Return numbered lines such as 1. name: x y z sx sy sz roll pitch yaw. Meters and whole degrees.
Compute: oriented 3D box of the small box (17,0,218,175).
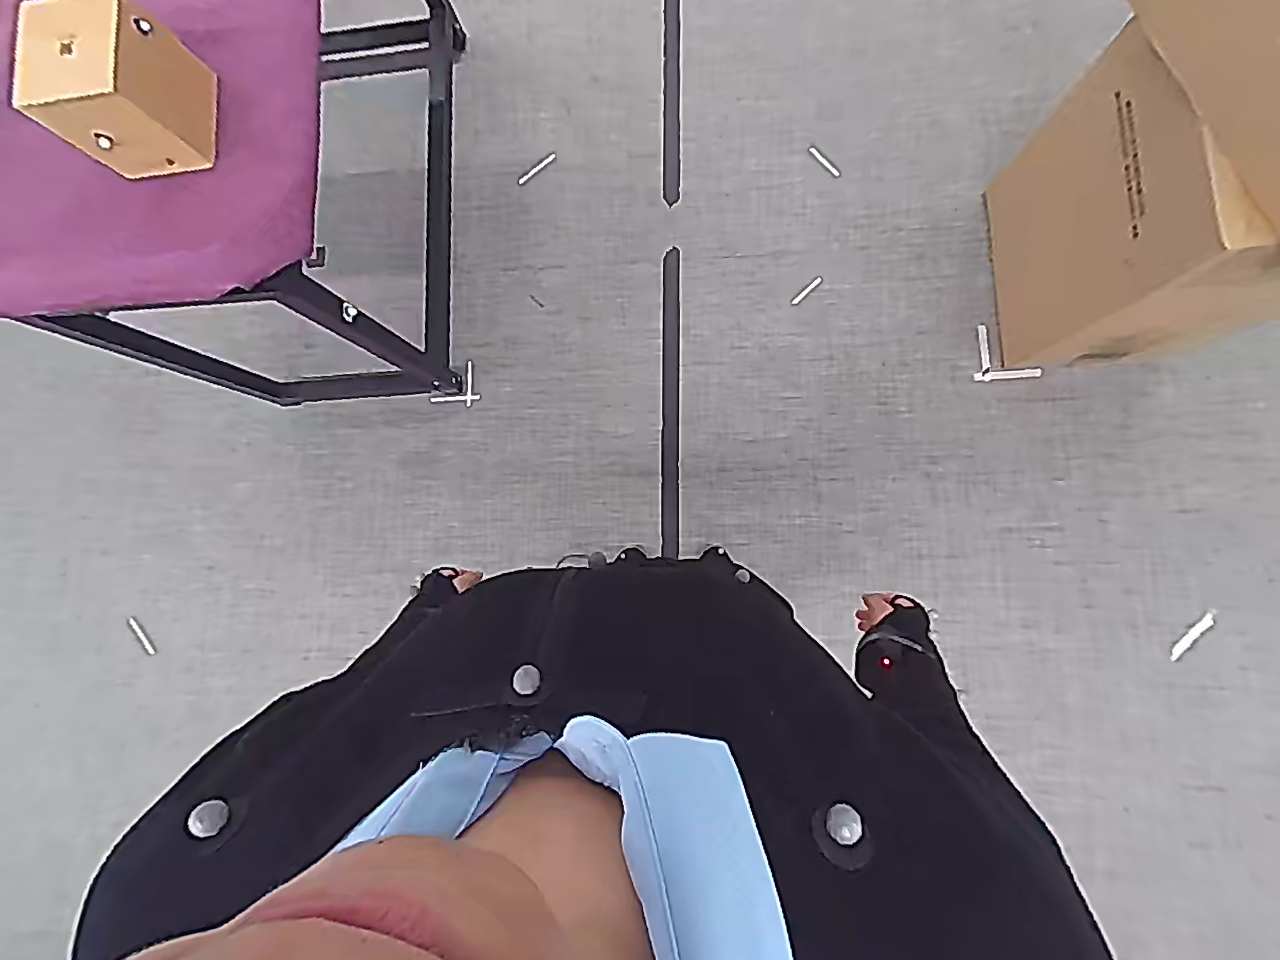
1. small box: -0.821 -0.619 0.865 0.168 0.176 0.179 -5 83 5
